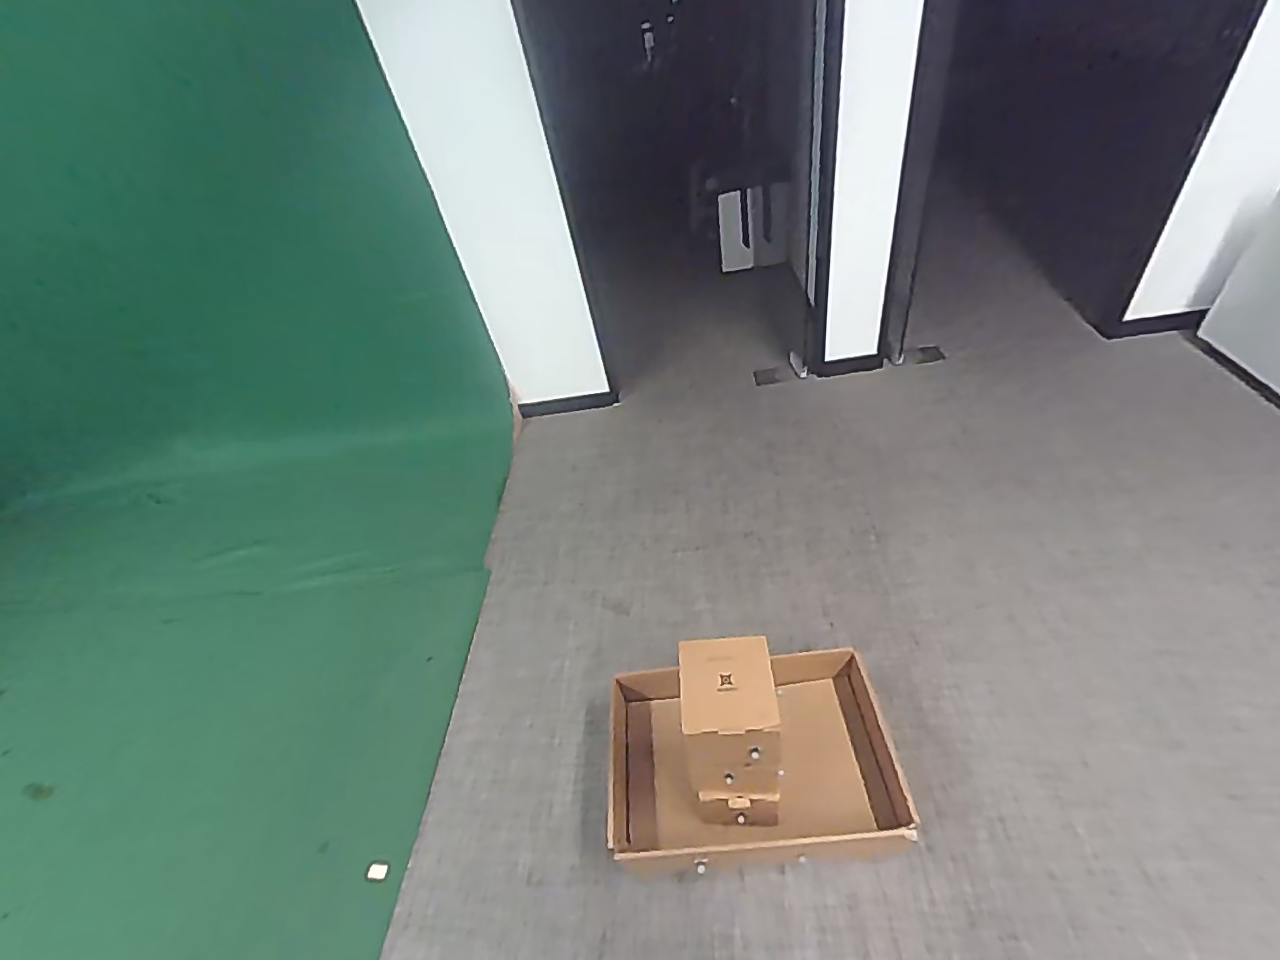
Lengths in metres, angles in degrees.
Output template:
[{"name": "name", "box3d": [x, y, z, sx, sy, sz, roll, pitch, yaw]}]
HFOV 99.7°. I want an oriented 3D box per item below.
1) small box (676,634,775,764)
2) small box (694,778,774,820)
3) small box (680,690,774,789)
[{"name": "small box", "box3d": [0.158, 0.412, 1.007, 0.168, 0.176, 0.179, -4, 41, 6]}, {"name": "small box", "box3d": [0.213, 0.649, 1.223, 0.168, 0.176, 0.179, -3, 43, 9]}, {"name": "small box", "box3d": [0.184, 0.523, 1.121, 0.179, 0.176, 0.168, -3, 42, 12]}]
